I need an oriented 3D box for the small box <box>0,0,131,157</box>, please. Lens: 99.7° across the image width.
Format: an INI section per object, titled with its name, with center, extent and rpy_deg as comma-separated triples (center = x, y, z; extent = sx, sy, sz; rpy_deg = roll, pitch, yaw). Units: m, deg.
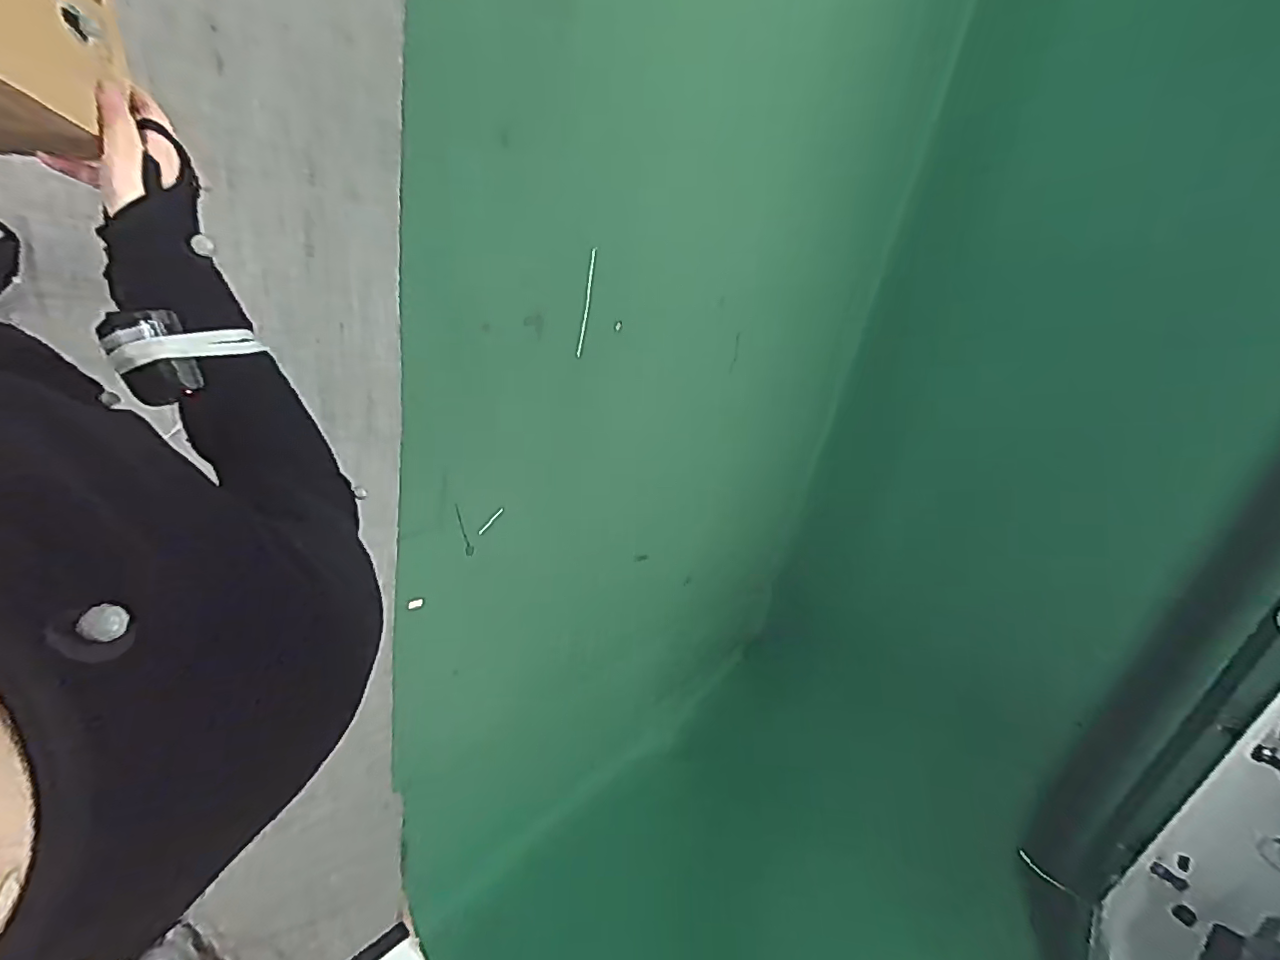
[small box]
center = -0.450, -0.303, 0.302
extent = 0.179, 0.176, 0.168
rpy_deg = -6, 103, -18
